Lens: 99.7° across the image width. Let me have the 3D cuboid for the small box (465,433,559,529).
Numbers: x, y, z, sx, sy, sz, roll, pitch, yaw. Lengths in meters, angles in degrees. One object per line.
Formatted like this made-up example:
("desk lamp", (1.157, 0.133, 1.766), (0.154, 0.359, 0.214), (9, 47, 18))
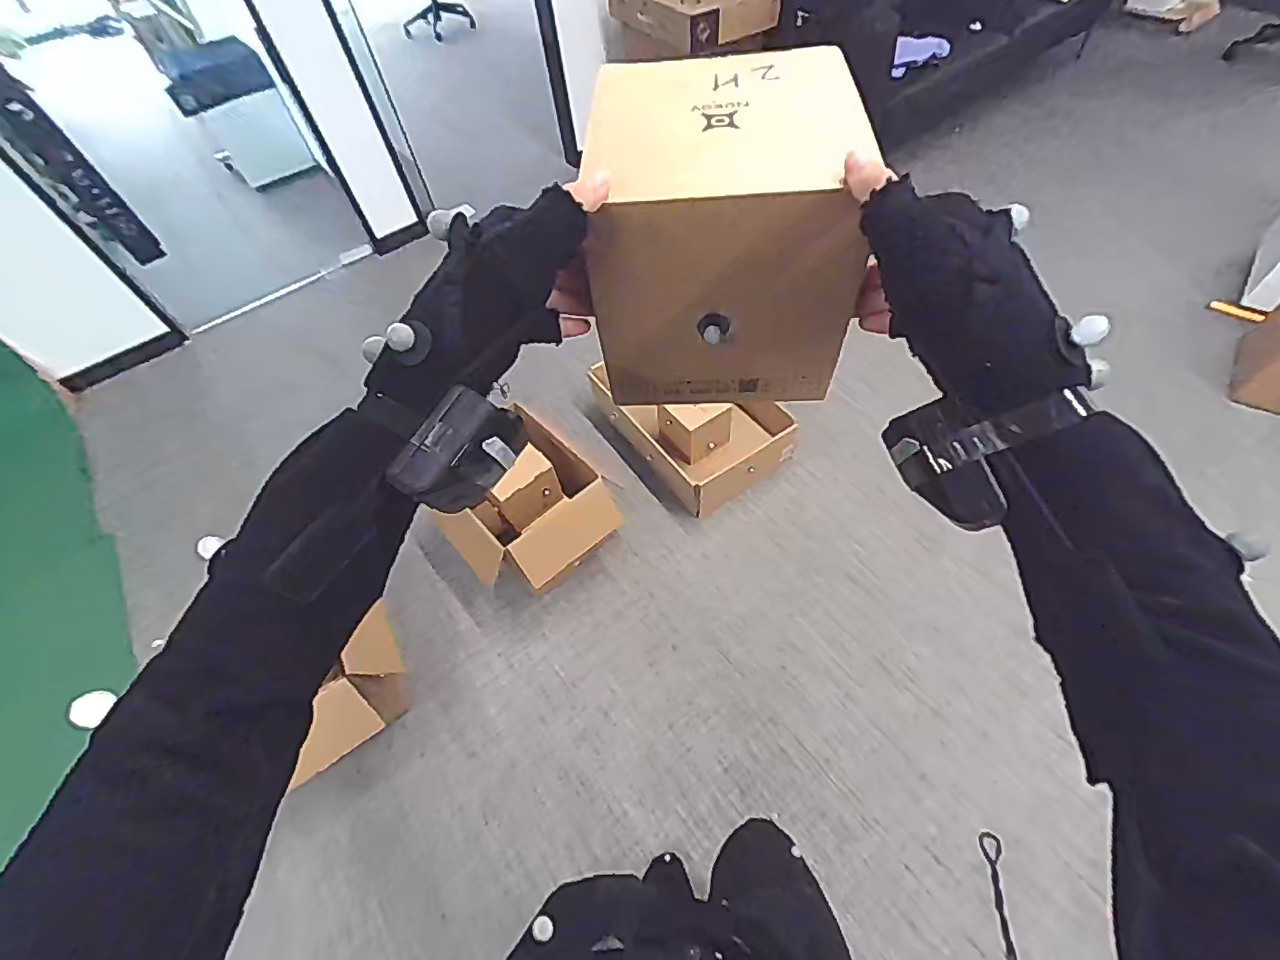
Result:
("small box", (-0.341, 0.011, 1.477), (0.168, 0.176, 0.179), (-38, 61, -21))

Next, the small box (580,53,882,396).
("small box", (0.059, -0.176, 0.401), (0.168, 0.176, 0.179), (-1, 56, 5))

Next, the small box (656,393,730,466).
("small box", (0.167, -0.178, 1.725), (0.168, 0.176, 0.179), (-32, 57, -17))
